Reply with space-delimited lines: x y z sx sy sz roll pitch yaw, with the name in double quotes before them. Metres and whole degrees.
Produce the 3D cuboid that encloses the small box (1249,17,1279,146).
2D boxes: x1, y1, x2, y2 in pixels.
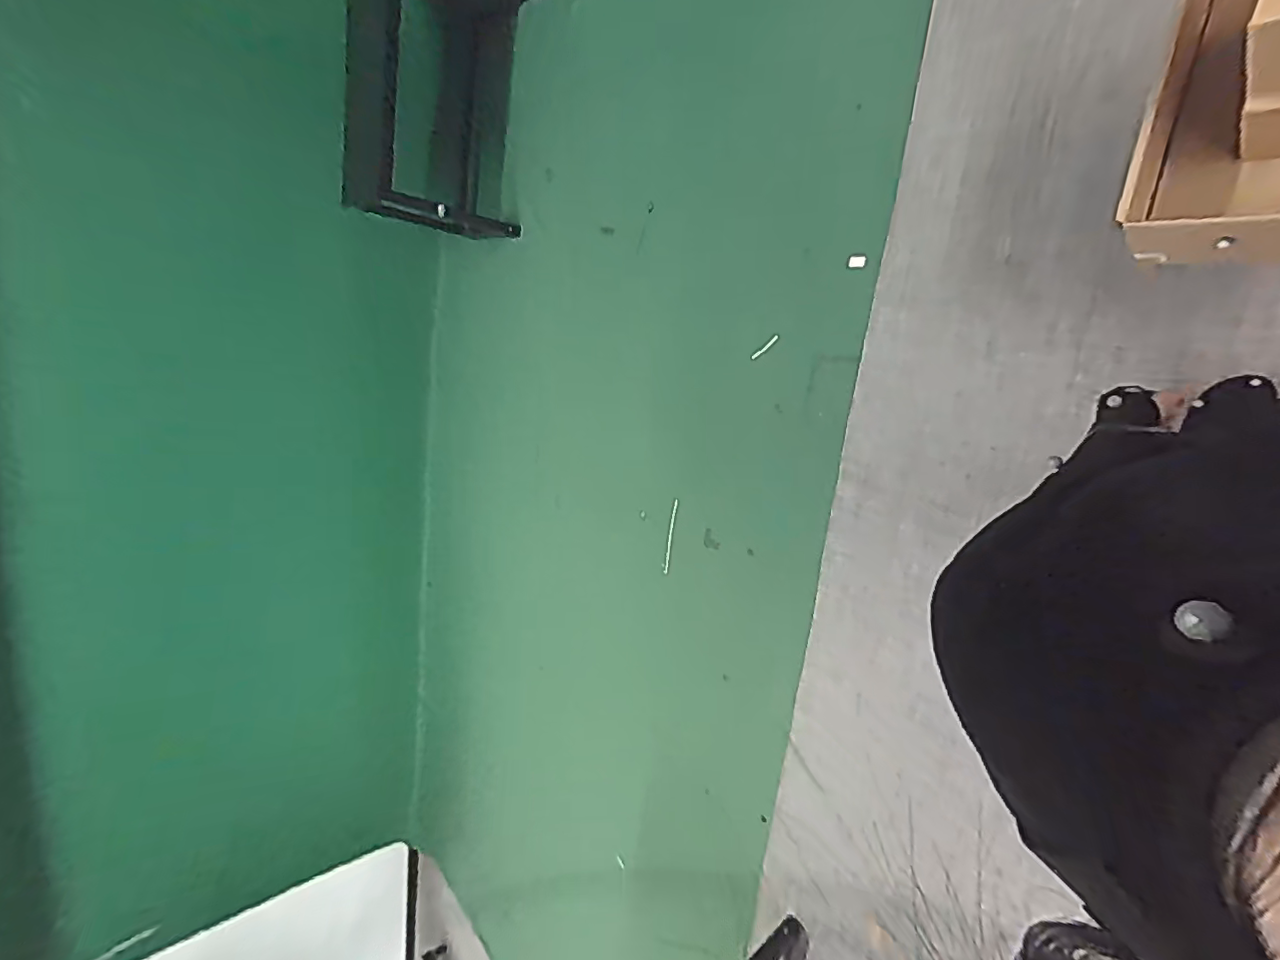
"small box" 0.837 -0.501 0.603 0.179 0.176 0.168 22 109 45
